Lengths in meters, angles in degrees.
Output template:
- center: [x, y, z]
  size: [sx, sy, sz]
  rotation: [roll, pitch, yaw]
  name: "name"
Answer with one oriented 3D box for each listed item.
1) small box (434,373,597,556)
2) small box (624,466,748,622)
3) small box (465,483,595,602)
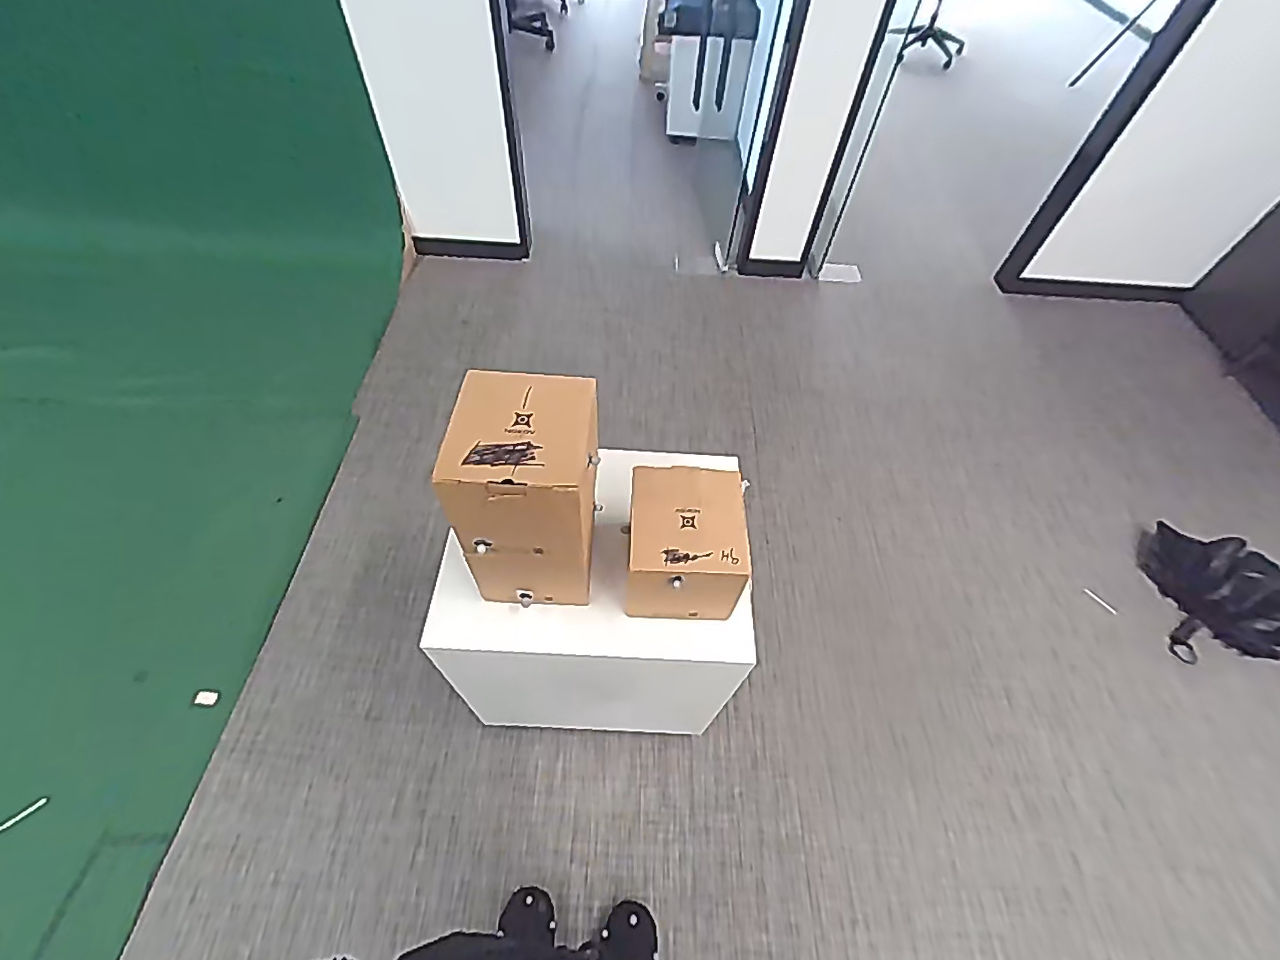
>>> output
- center: [-0.147, -0.016, 0.712]
  size: [0.168, 0.176, 0.179]
  rotation: [4, 53, 0]
  name: "small box"
- center: [0.063, 0.101, 0.841]
  size: [0.168, 0.176, 0.179]
  rotation: [3, 53, -2]
  name: "small box"
- center: [-0.156, 0.072, 0.831]
  size: [0.168, 0.176, 0.179]
  rotation: [1, 55, -2]
  name: "small box"
